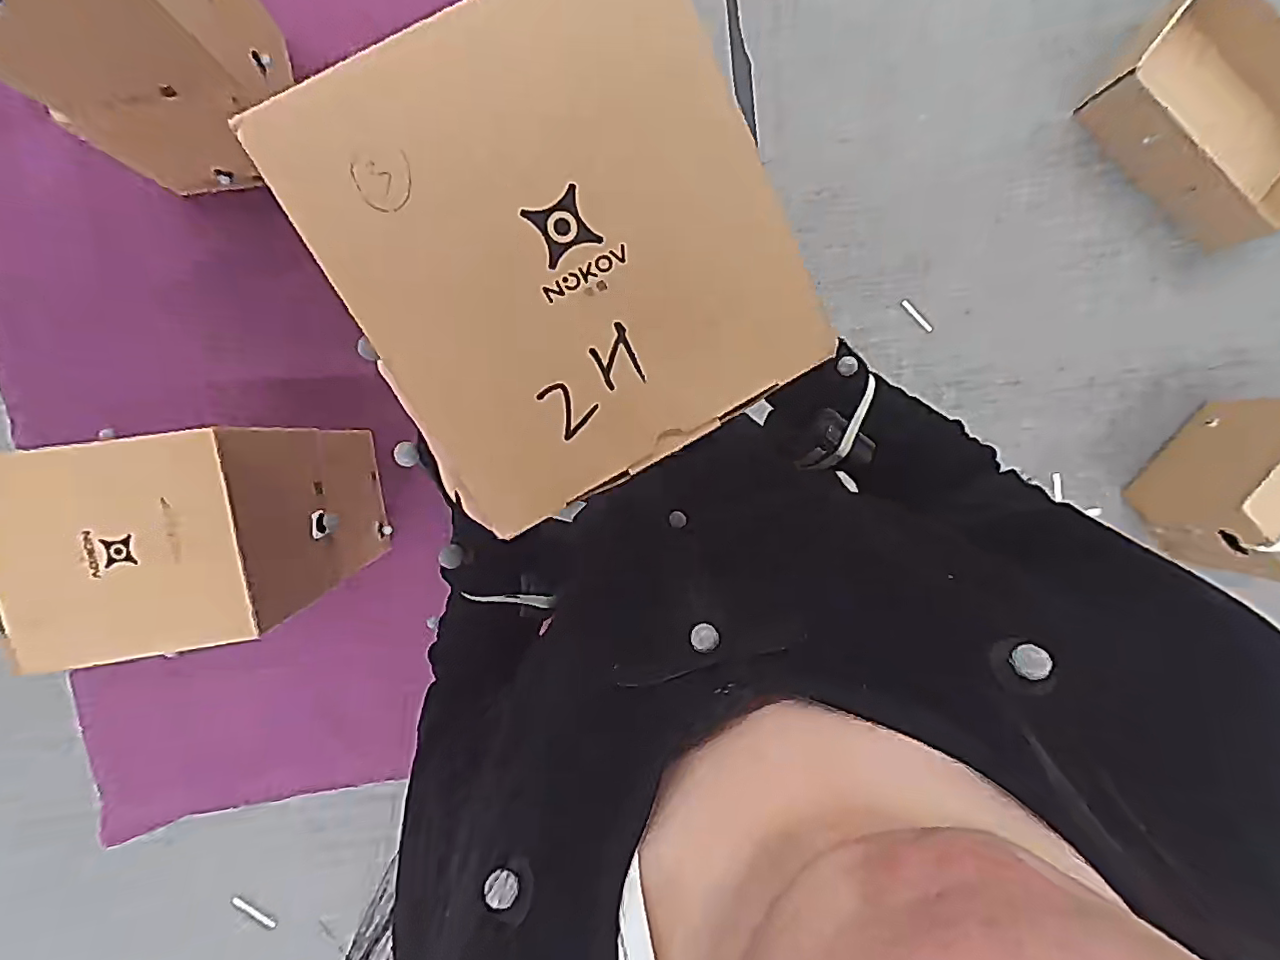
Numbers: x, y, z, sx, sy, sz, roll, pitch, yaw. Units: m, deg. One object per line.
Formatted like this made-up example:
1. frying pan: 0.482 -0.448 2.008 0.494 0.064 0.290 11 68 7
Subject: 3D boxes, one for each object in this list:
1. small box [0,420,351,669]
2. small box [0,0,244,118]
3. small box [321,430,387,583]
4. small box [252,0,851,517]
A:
1. small box: -0.391 0.042 0.477 0.179 0.176 0.168 -9 96 -6
2. small box: -0.465 -0.434 0.427 0.168 0.176 0.179 -13 96 -4
3. small box: -0.419 0.032 0.637 0.179 0.176 0.168 -8 95 -4
4. small box: -0.033 -0.109 0.279 0.168 0.176 0.179 -29 104 -2
